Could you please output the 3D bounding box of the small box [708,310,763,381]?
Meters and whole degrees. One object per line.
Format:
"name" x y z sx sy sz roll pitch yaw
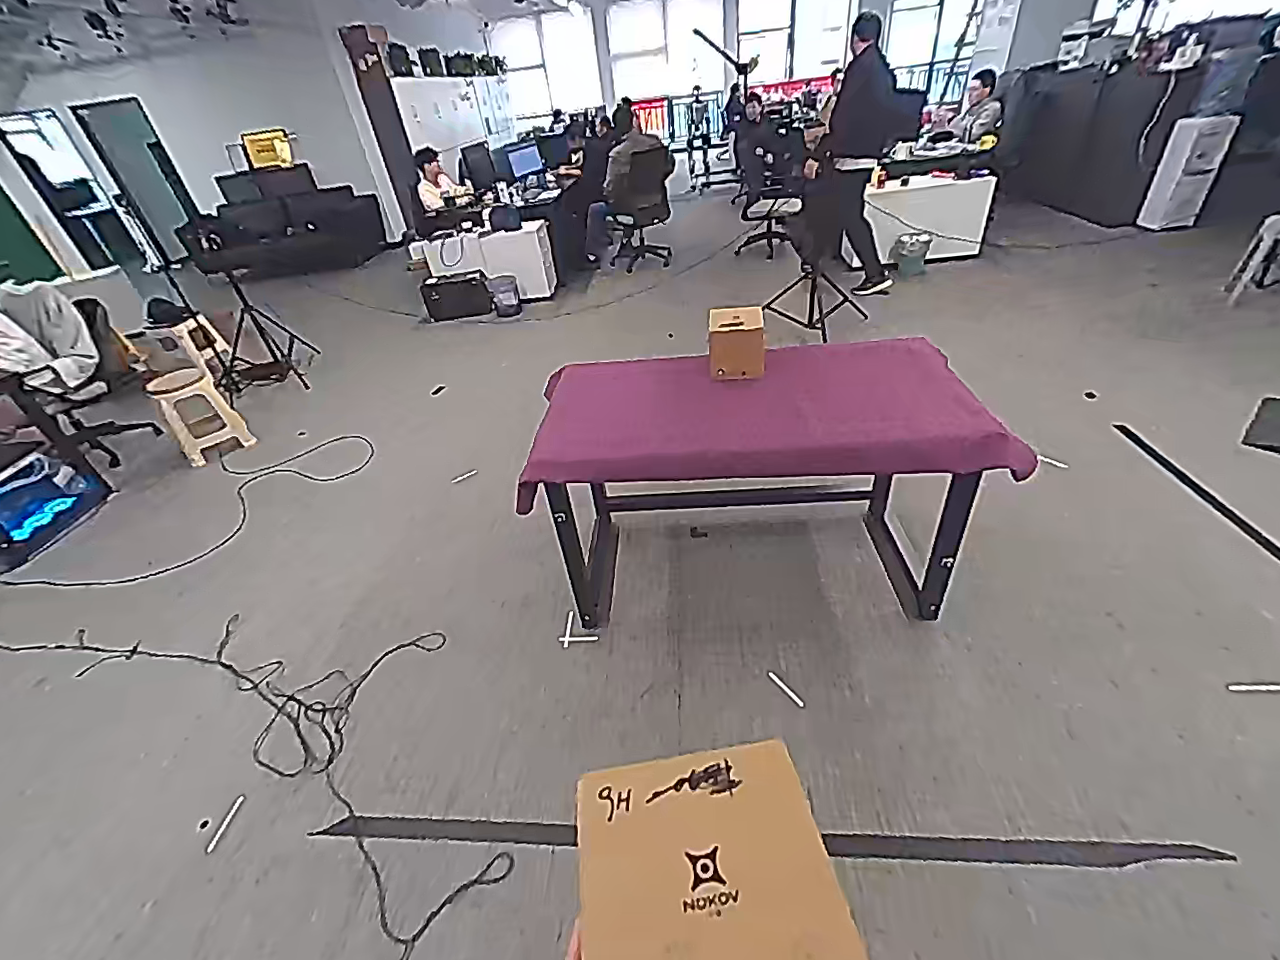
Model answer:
"small box" 0.306 -0.426 1.728 0.168 0.176 0.179 -1 37 10

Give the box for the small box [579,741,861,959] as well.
"small box" 0.051 0.329 0.394 0.168 0.176 0.179 -8 33 -3
